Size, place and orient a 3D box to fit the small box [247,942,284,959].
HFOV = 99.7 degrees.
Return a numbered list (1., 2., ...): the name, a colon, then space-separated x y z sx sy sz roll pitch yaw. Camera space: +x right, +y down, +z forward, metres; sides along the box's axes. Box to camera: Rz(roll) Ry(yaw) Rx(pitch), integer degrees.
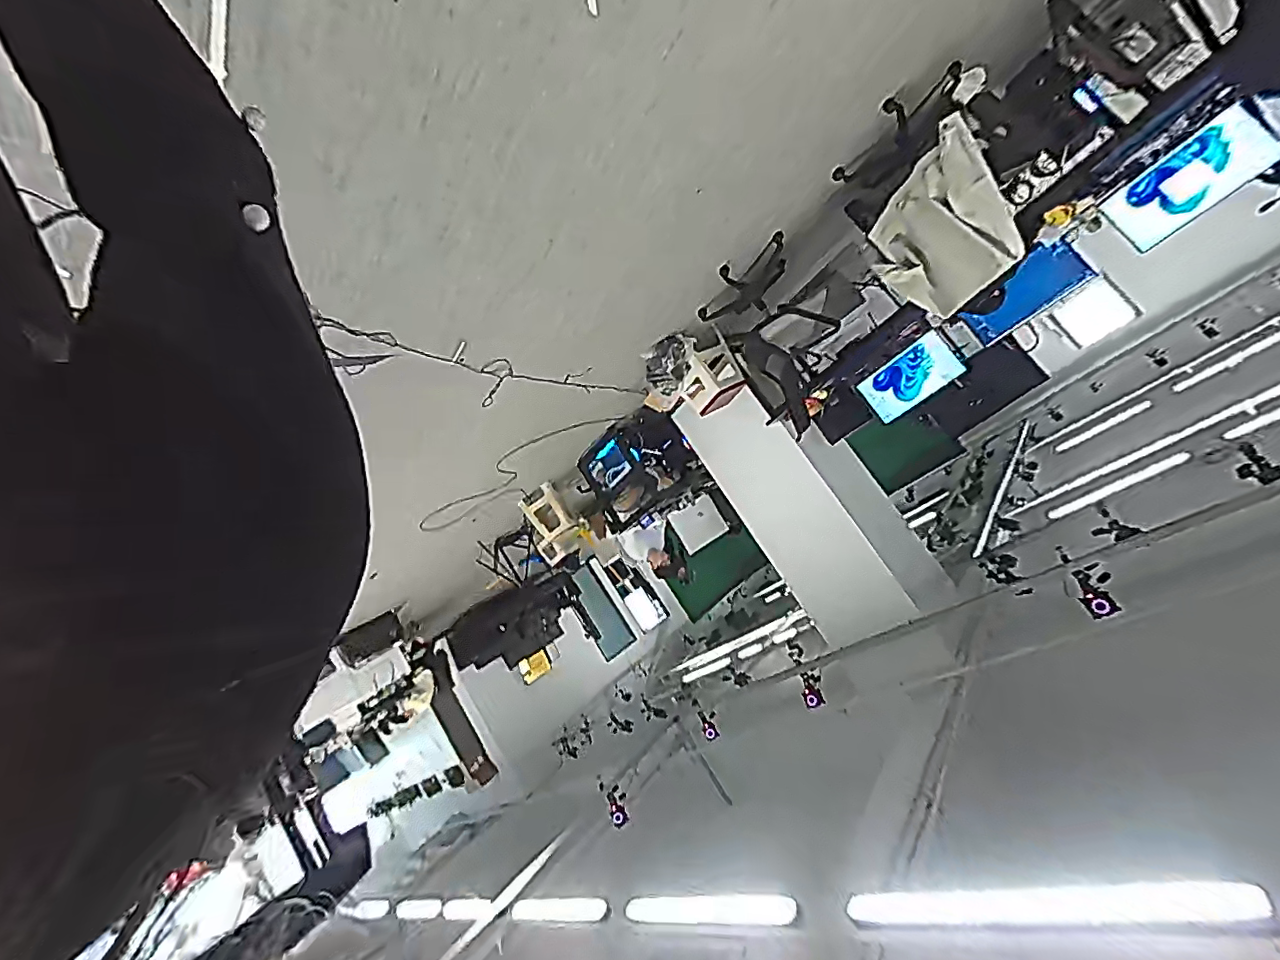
1. small box: -1.088 1.455 1.523 0.168 0.176 0.179 -26 169 -40
